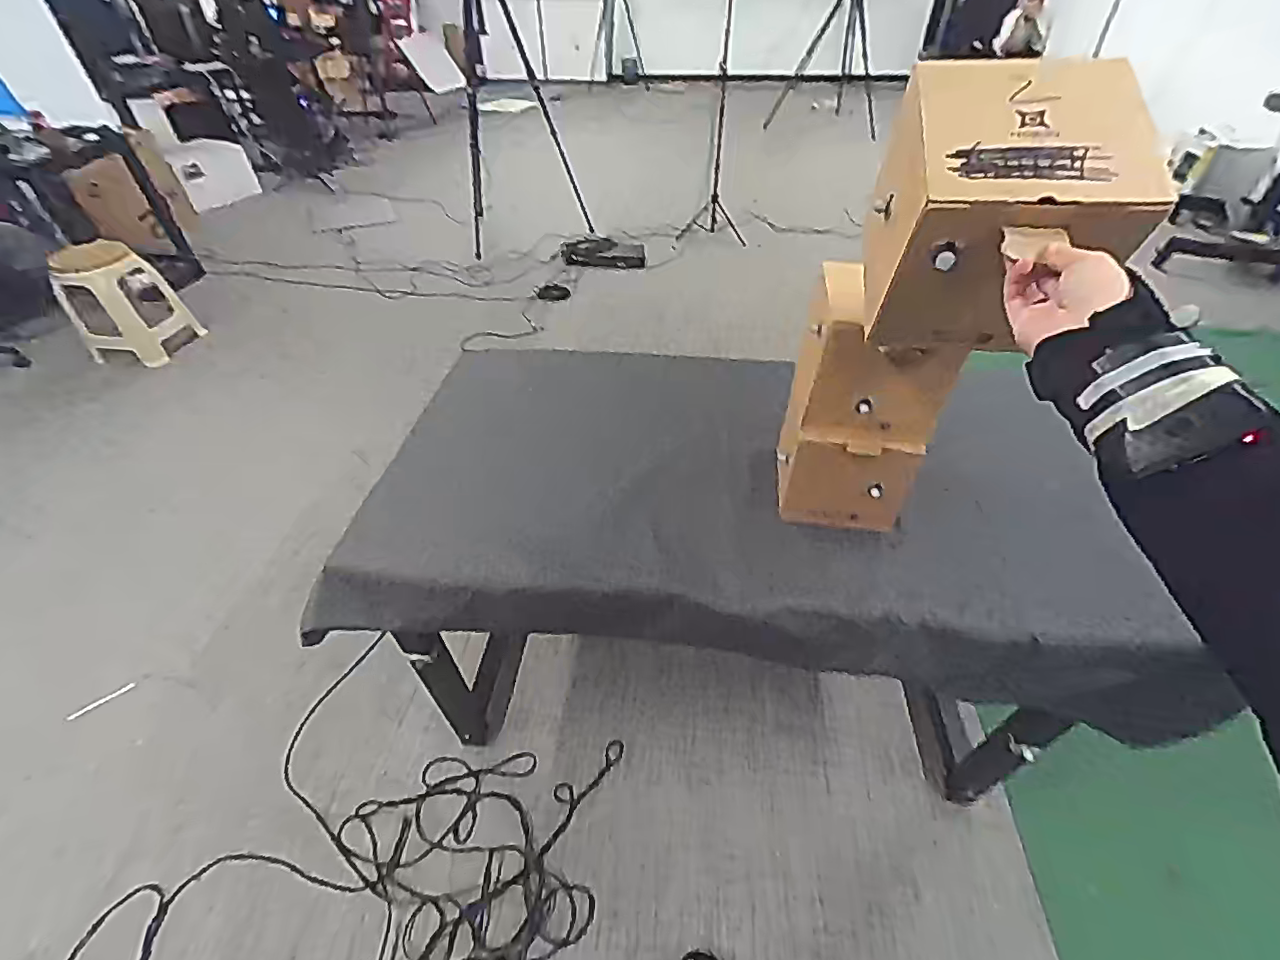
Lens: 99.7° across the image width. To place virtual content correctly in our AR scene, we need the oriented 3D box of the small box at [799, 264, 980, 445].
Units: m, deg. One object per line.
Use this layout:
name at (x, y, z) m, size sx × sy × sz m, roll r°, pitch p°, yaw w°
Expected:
small box at (0.317, -0.168, 0.732) m, size 0.168 × 0.176 × 0.179 m, roll 8°, pitch 45°, yaw 6°

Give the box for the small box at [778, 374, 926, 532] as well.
small box at (0.311, -0.041, 0.833) m, size 0.168 × 0.176 × 0.179 m, roll 7°, pitch 43°, yaw 6°
